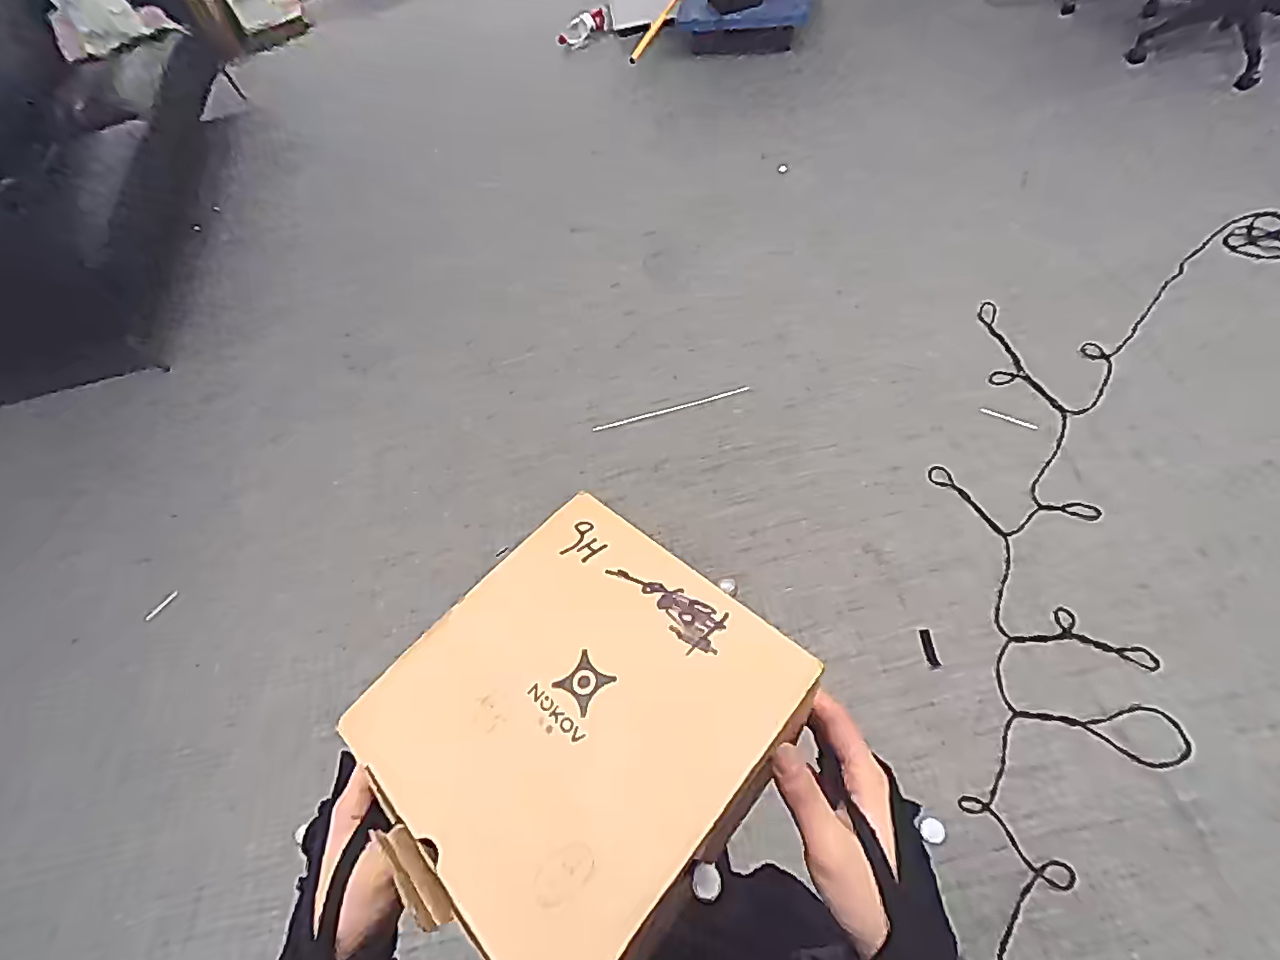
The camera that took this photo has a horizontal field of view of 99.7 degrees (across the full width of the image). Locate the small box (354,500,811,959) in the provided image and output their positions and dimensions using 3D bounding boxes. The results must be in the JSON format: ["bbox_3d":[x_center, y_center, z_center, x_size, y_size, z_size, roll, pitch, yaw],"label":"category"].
[{"bbox_3d":[-0.019,0.152,0.327,0.168,0.176,0.179,34,67,29],"label":"small box"}]
